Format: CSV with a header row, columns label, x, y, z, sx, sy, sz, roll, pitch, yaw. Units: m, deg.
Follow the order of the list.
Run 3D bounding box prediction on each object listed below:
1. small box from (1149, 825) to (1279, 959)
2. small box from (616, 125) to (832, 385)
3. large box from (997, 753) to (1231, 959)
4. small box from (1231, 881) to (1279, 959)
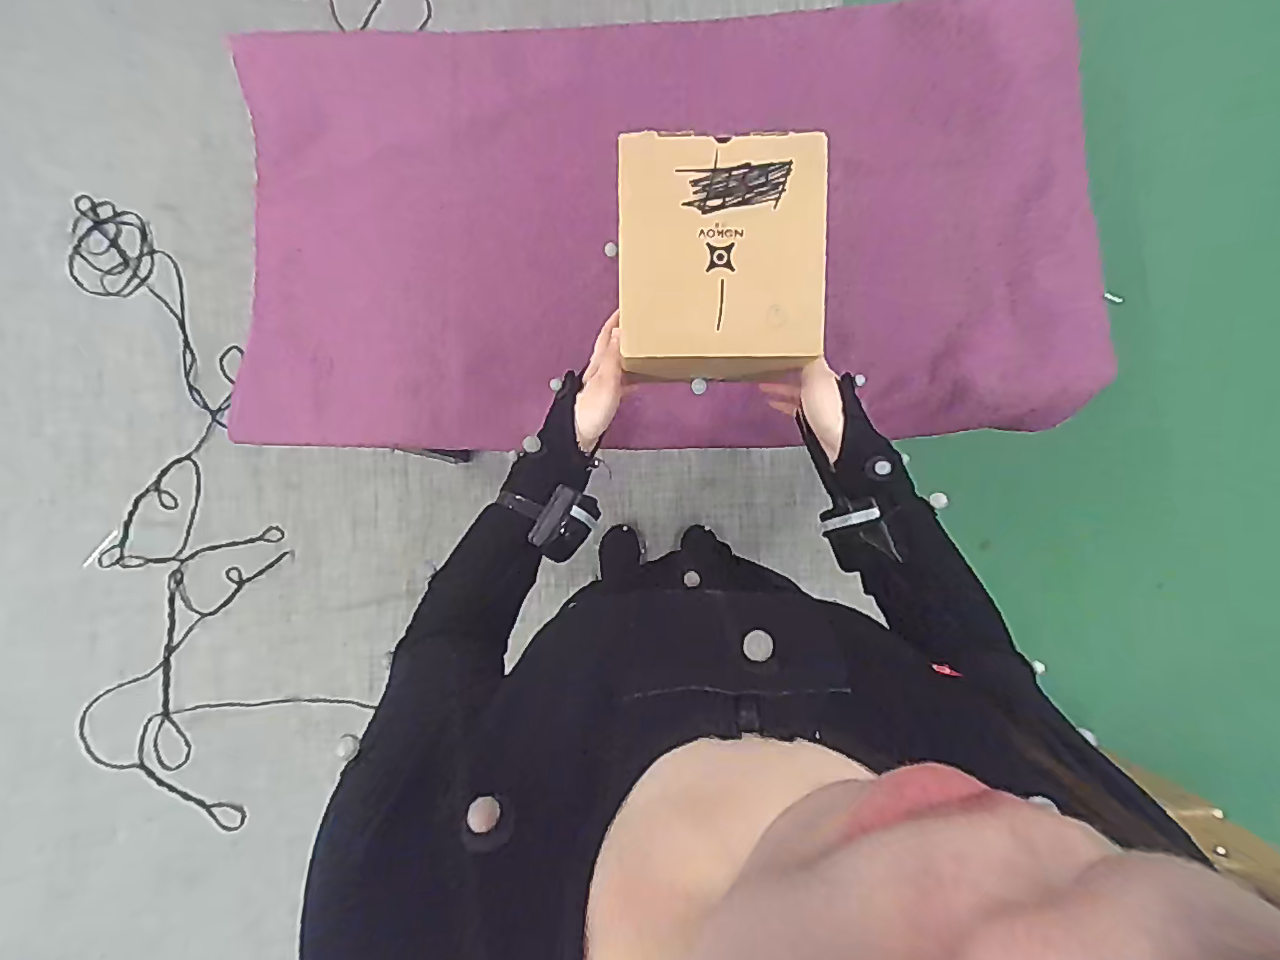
label,x,y,z,sx,sy,sz,roll,pitch,yaw
small box,1.154,0.803,1.052,0.179,0.176,0.168,-1,87,1
small box,0.064,-0.186,0.493,0.168,0.176,0.179,0,94,1
large box,1.109,0.923,1.289,0.320,0.320,0.408,-1,87,2
small box,1.149,0.797,0.887,0.179,0.176,0.168,-2,87,1
